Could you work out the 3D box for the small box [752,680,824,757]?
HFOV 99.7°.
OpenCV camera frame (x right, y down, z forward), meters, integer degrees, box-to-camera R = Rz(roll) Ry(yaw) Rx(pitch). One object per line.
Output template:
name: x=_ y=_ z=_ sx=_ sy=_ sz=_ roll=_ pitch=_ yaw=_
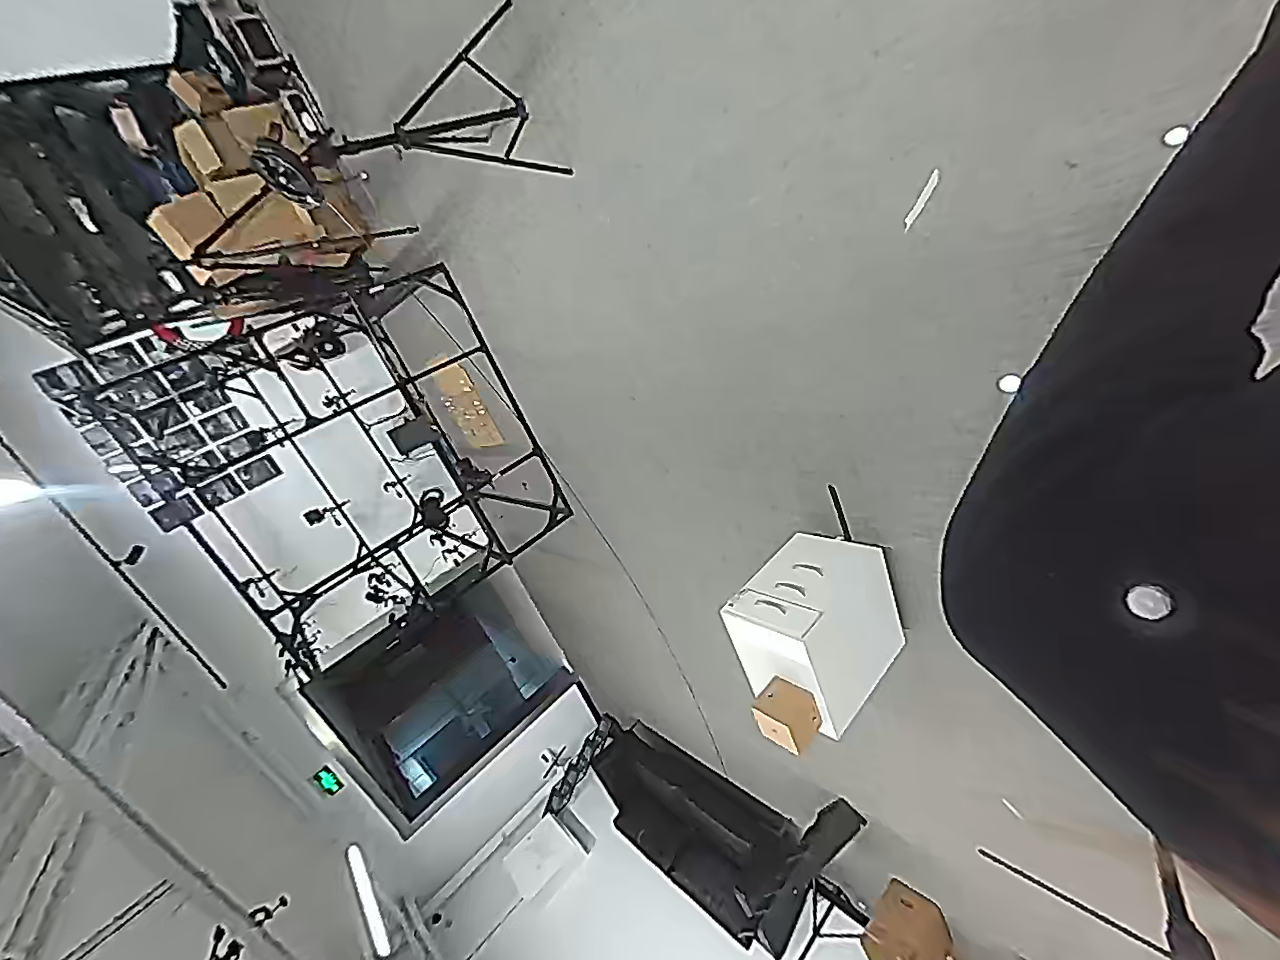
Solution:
small box: x=0.554 y=0.880 z=2.021 sx=0.179 sy=0.176 sz=0.168 roll=9 pitch=129 yaw=52
